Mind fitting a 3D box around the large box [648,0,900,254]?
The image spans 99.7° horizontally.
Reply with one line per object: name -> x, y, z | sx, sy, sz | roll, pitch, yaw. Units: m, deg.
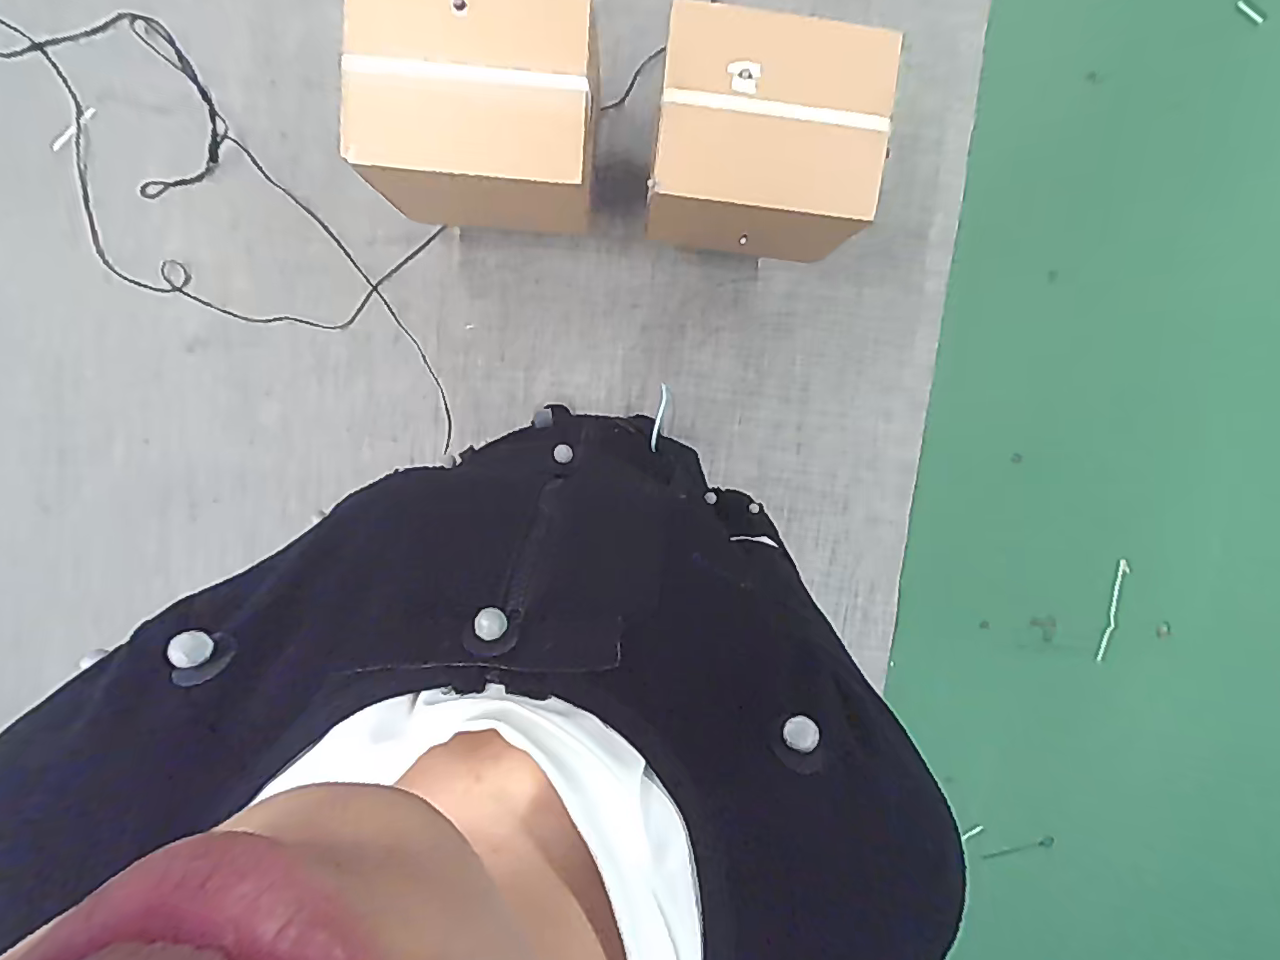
large box -> 0.236, -0.671, 1.096 | 0.408, 0.320, 0.320 | 6, 98, -3
